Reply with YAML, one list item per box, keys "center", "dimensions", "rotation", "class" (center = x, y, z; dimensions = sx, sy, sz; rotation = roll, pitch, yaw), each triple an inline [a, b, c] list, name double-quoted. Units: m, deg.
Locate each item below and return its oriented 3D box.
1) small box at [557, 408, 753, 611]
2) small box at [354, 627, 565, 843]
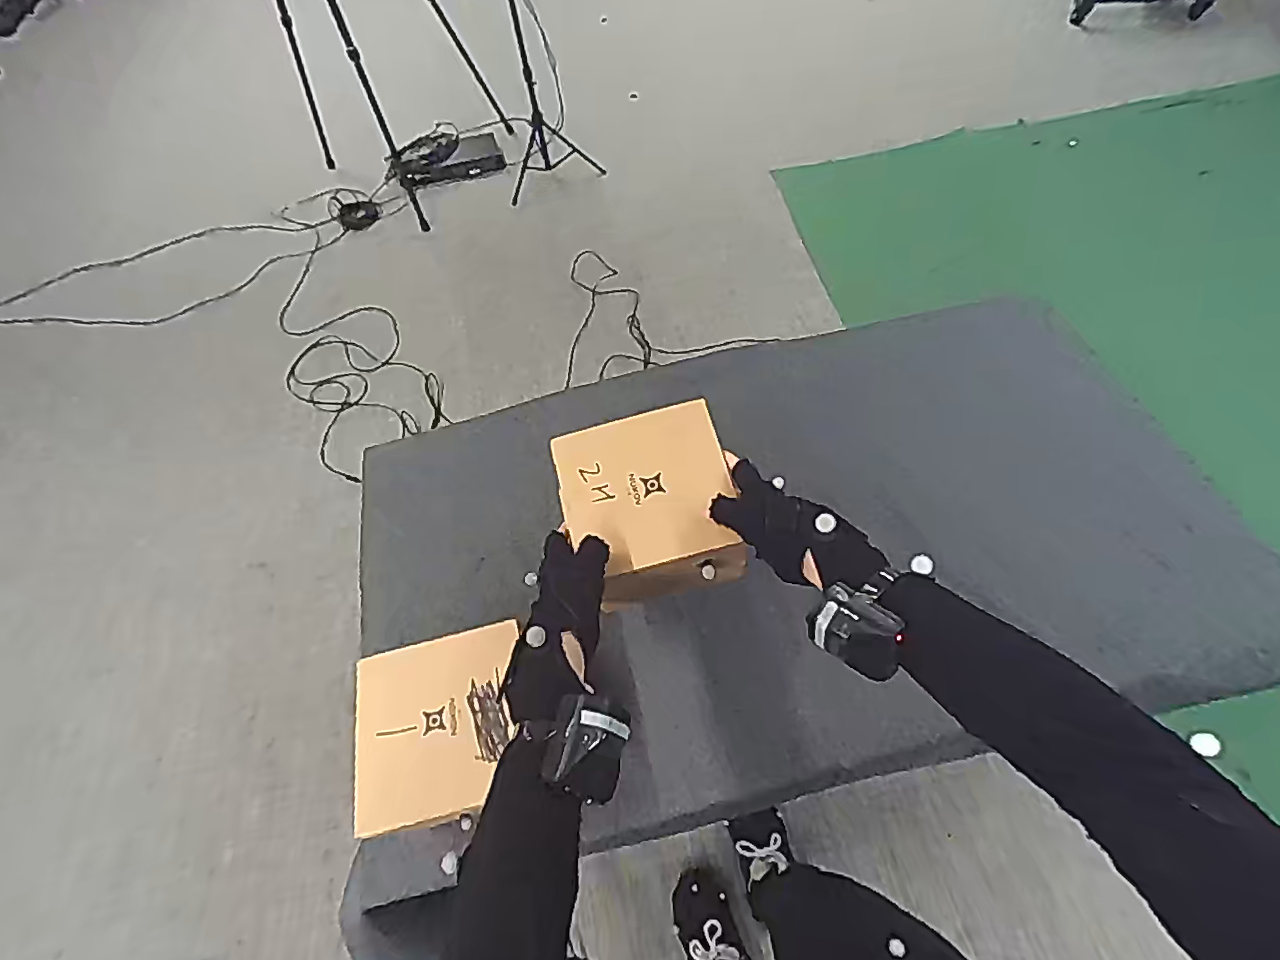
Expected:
- center: [0.017, 0.043, 0.629]
  dimensions: [0.179, 0.176, 0.168]
  rotation: [-14, 66, 1]
  class: "small box"
- center: [-0.187, 0.281, 0.601]
  dimensions: [0.179, 0.176, 0.168]
  rotation: [-13, 60, -3]
  class: "small box"
